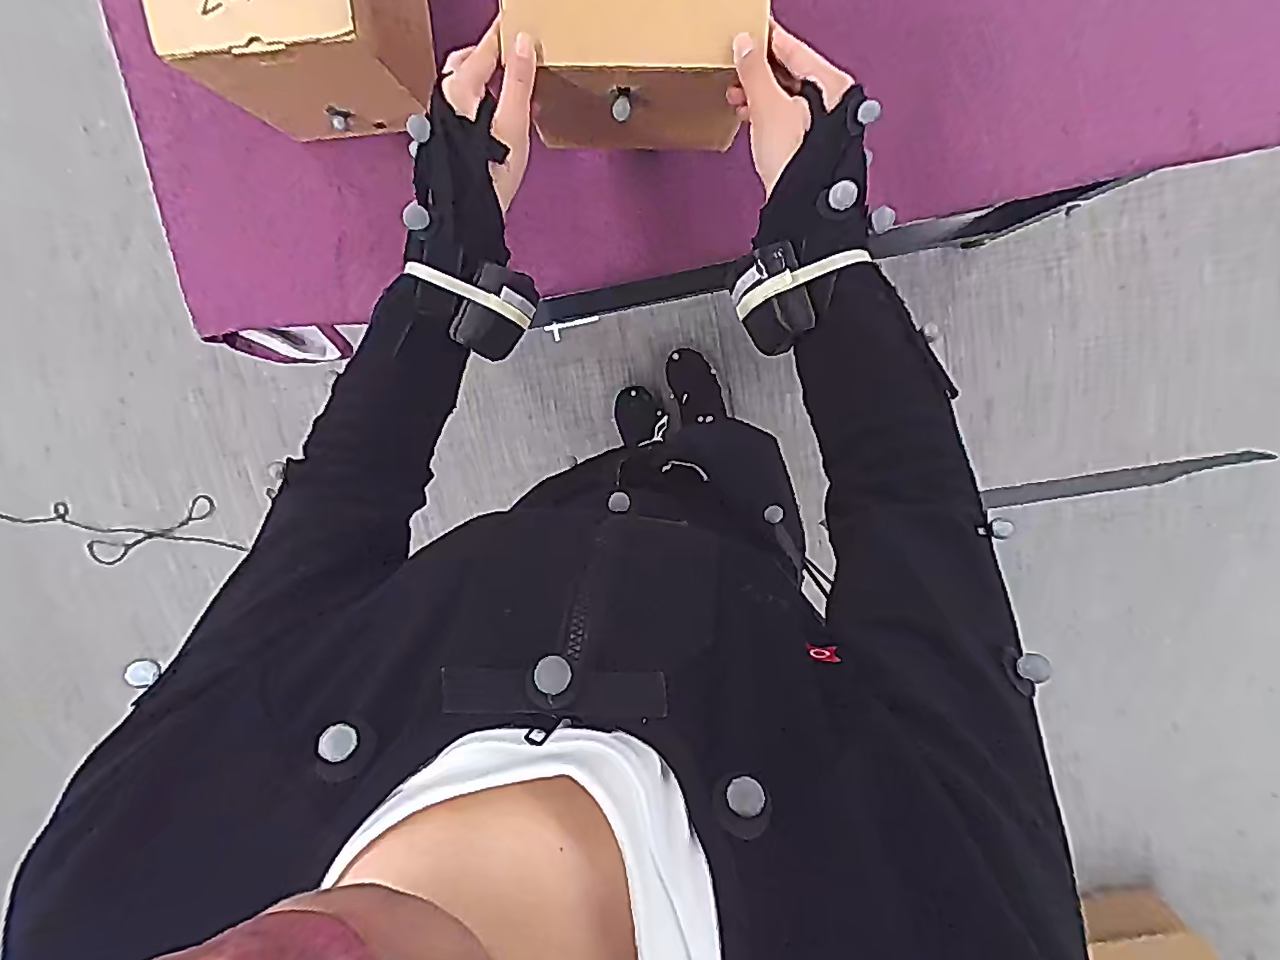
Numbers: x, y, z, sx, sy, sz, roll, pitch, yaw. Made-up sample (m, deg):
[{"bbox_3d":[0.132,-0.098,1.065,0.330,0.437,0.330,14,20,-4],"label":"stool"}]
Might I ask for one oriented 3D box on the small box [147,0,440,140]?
[{"bbox_3d":[-0.299,-0.440,0.485,0.168,0.176,0.179,-3,102,4],"label":"small box"}]
